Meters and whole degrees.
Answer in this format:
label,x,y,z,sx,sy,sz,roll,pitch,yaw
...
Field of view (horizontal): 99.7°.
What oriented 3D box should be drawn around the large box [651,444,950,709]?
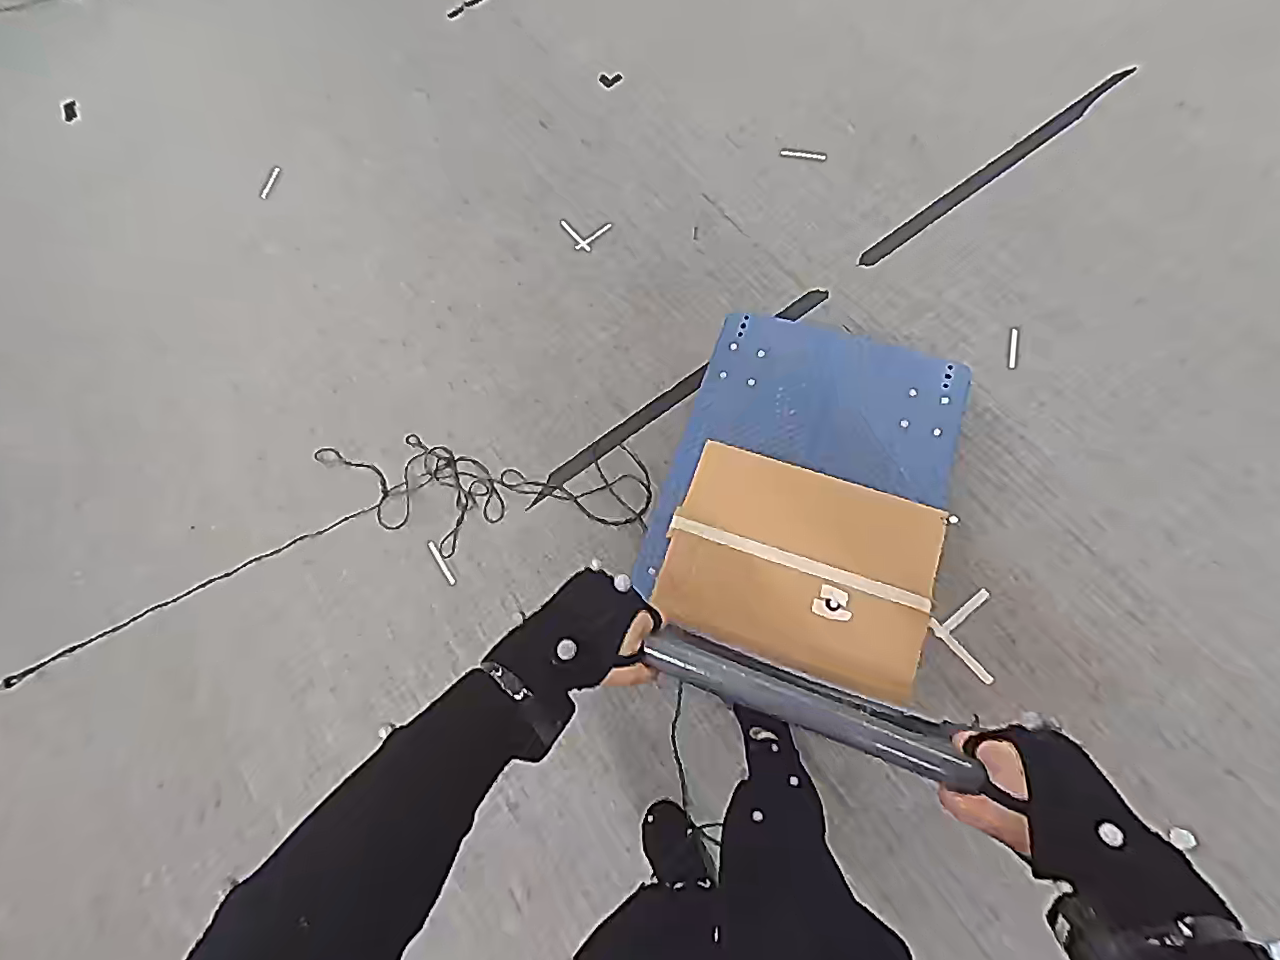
label,x,y,z,sx,sy,sz,roll,pitch,yaw
large box,0.262,0.178,0.981,0.408,0.320,0.320,18,75,11
